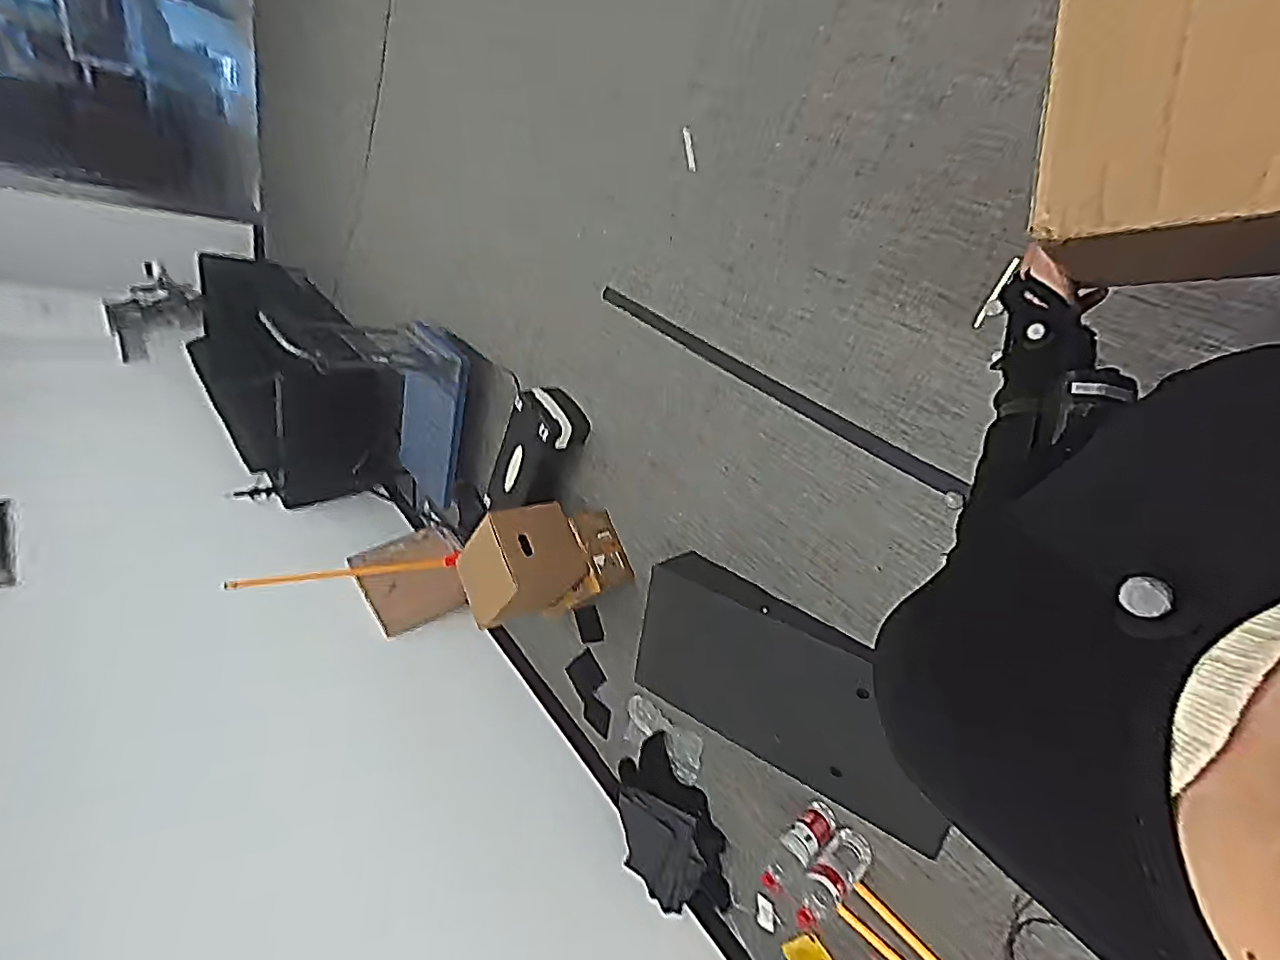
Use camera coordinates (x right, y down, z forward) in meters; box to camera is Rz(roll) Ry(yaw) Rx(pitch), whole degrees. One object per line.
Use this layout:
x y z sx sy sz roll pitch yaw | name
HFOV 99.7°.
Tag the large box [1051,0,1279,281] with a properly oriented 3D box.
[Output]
0.451 -0.281 0.232 0.408 0.320 0.320 10 108 39 | large box
